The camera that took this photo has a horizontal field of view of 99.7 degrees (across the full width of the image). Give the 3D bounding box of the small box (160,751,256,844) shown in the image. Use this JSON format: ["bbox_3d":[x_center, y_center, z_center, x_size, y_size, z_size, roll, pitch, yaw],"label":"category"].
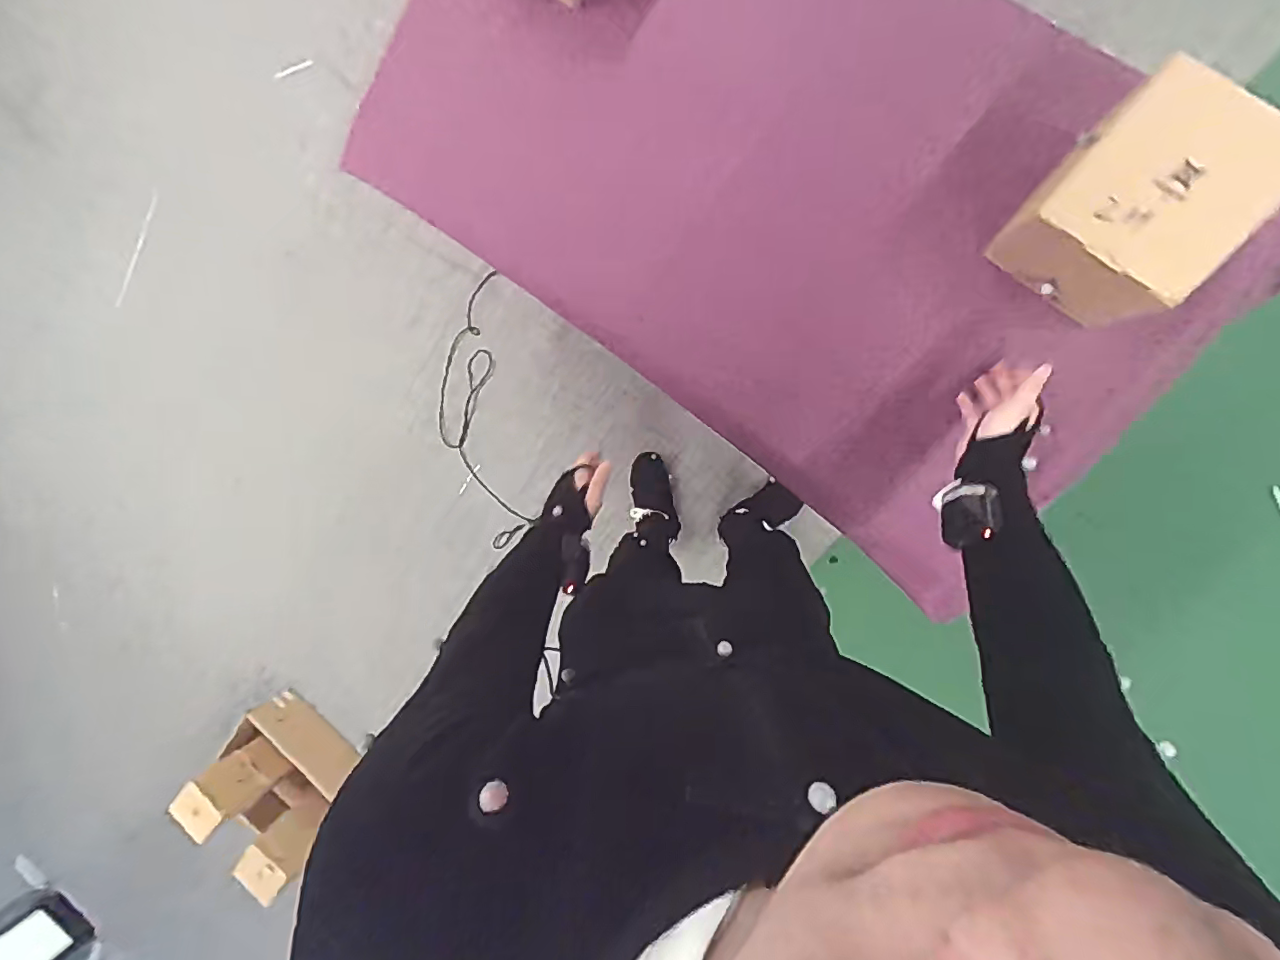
[{"bbox_3d":[-1.471,1.080,1.850,0.168,0.176,0.179,44,104,4],"label":"small box"}]

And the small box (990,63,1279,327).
[{"bbox_3d":[0.545,-0.298,0.610,0.168,0.176,0.179,41,107,7],"label":"small box"}]

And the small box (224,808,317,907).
[{"bbox_3d":[-1.237,1.266,1.822,0.168,0.176,0.179,38,106,5],"label":"small box"}]
